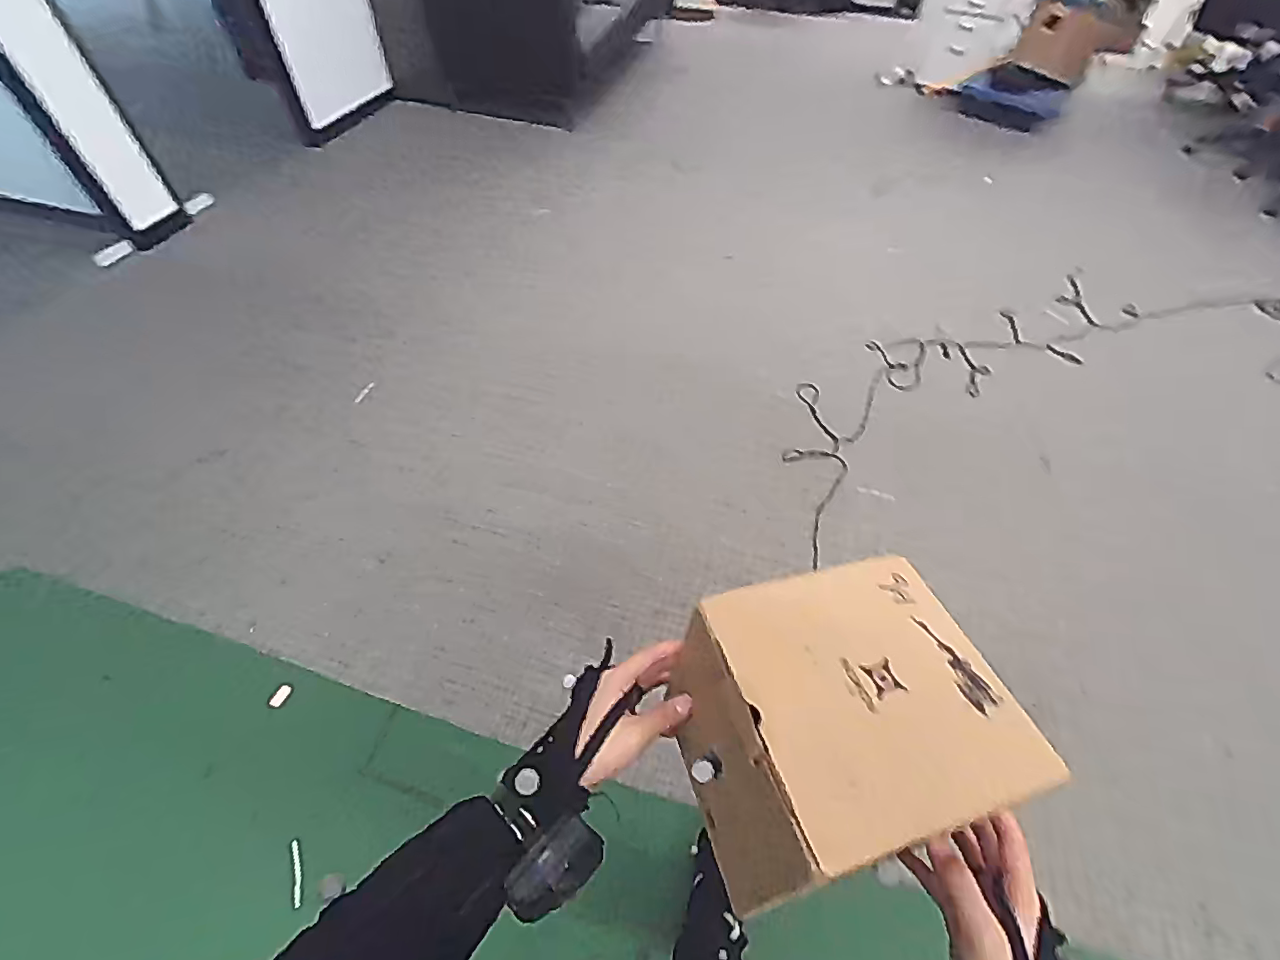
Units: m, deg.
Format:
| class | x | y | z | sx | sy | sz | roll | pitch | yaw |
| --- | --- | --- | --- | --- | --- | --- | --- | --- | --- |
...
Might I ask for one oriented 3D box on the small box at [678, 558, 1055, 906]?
| class | x | y | z | sx | sy | sz | roll | pitch | yaw |
| --- | --- | --- | --- | --- | --- | --- | --- | --- | --- |
| small box | 0.136 | 0.186 | 0.405 | 0.179 | 0.176 | 0.168 | -8 | 48 | -16 |
